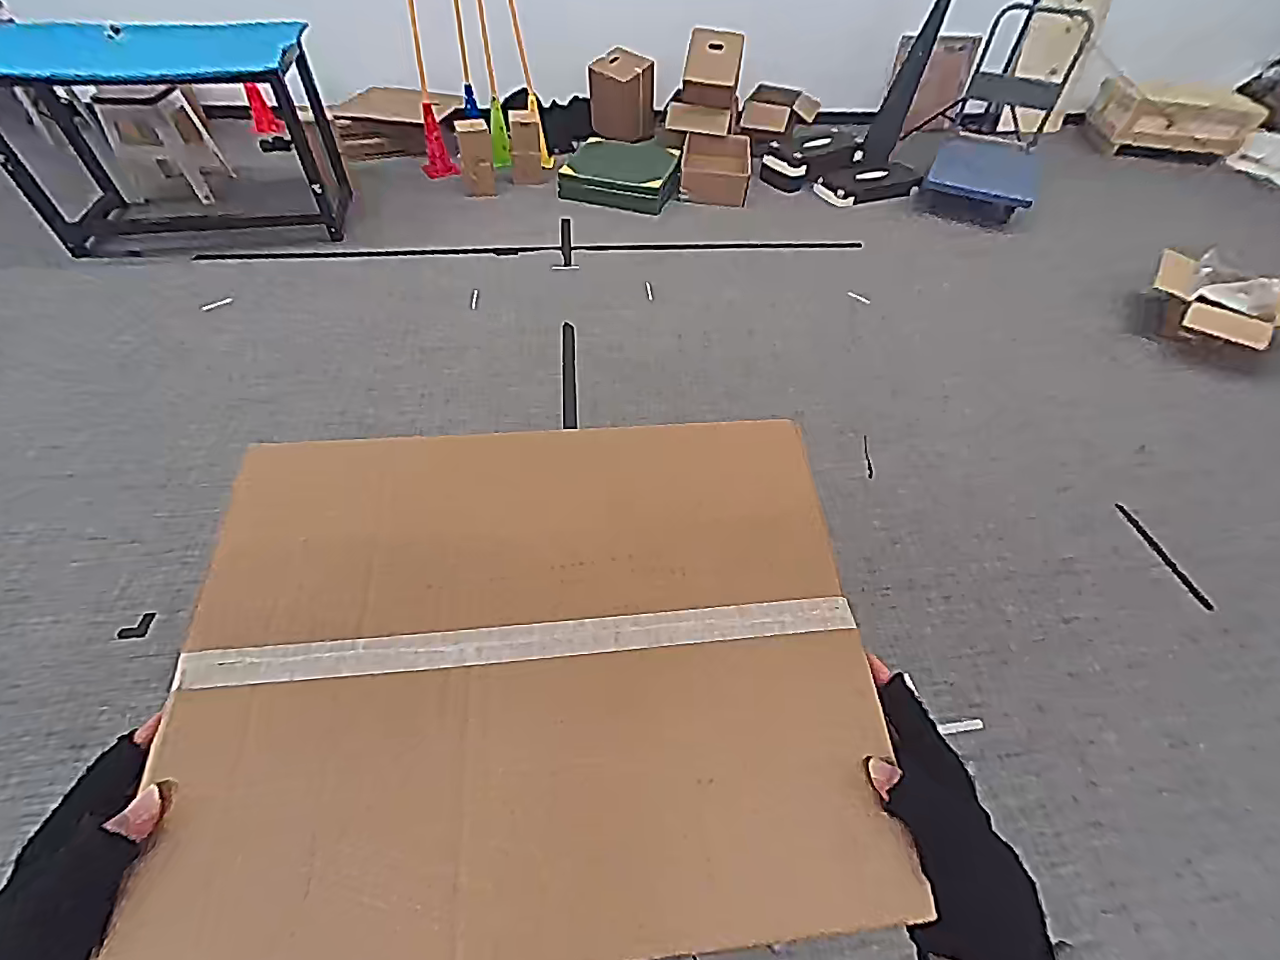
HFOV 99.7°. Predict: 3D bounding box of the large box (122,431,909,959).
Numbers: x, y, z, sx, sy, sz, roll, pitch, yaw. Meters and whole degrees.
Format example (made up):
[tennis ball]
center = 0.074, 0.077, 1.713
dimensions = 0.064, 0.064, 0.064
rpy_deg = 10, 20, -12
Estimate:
[large box]
center = -0.072, 0.180, 0.468
dimensions = 0.408, 0.320, 0.320
rpy_deg = -4, 61, -5
